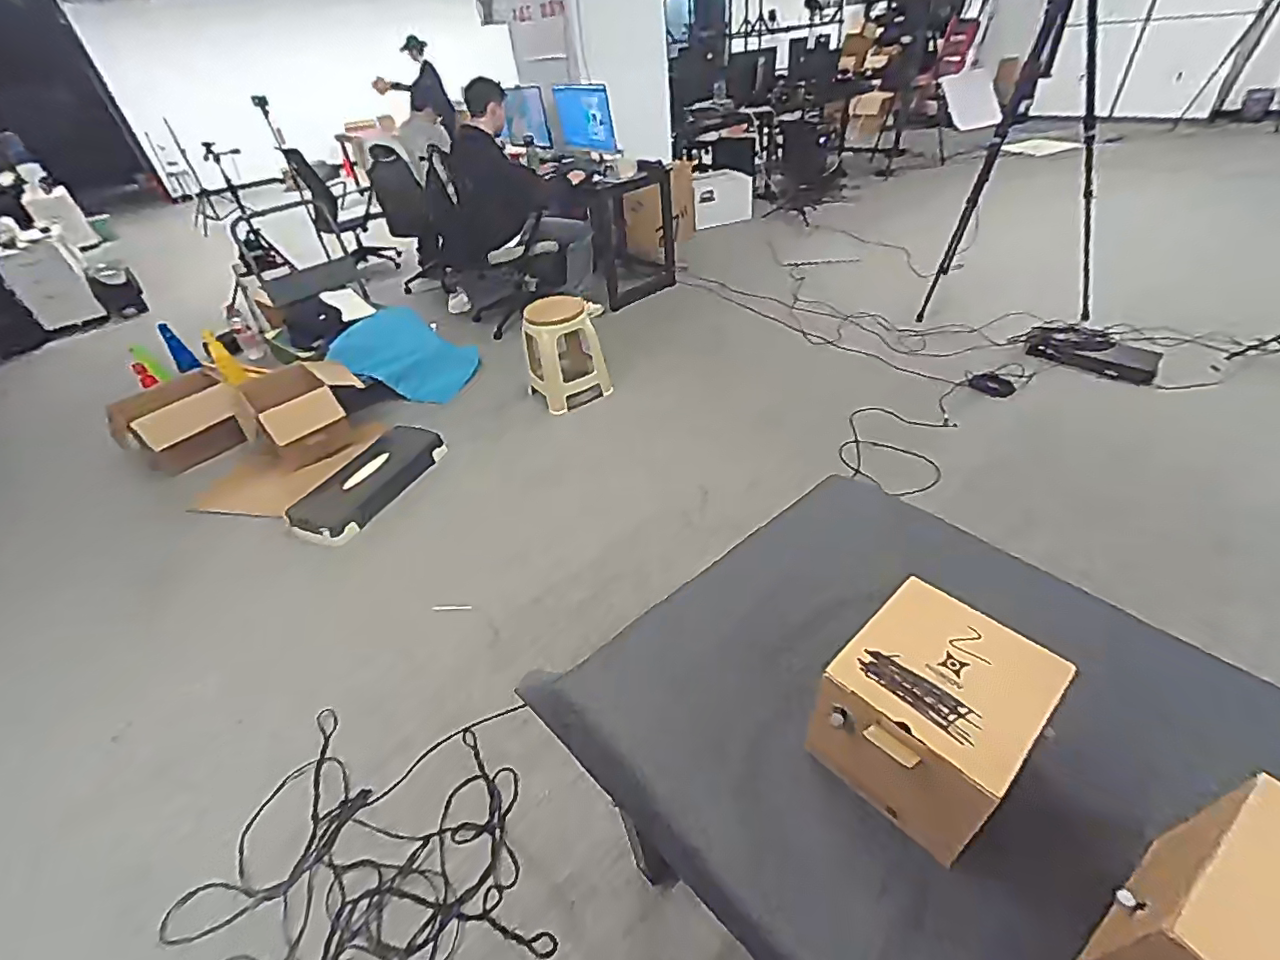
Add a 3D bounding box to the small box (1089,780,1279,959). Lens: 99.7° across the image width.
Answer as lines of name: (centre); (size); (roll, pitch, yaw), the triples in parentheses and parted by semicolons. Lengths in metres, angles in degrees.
small box: (0.481, 0.375, 0.397); (0.179, 0.176, 0.168); (-27, 44, -24)
